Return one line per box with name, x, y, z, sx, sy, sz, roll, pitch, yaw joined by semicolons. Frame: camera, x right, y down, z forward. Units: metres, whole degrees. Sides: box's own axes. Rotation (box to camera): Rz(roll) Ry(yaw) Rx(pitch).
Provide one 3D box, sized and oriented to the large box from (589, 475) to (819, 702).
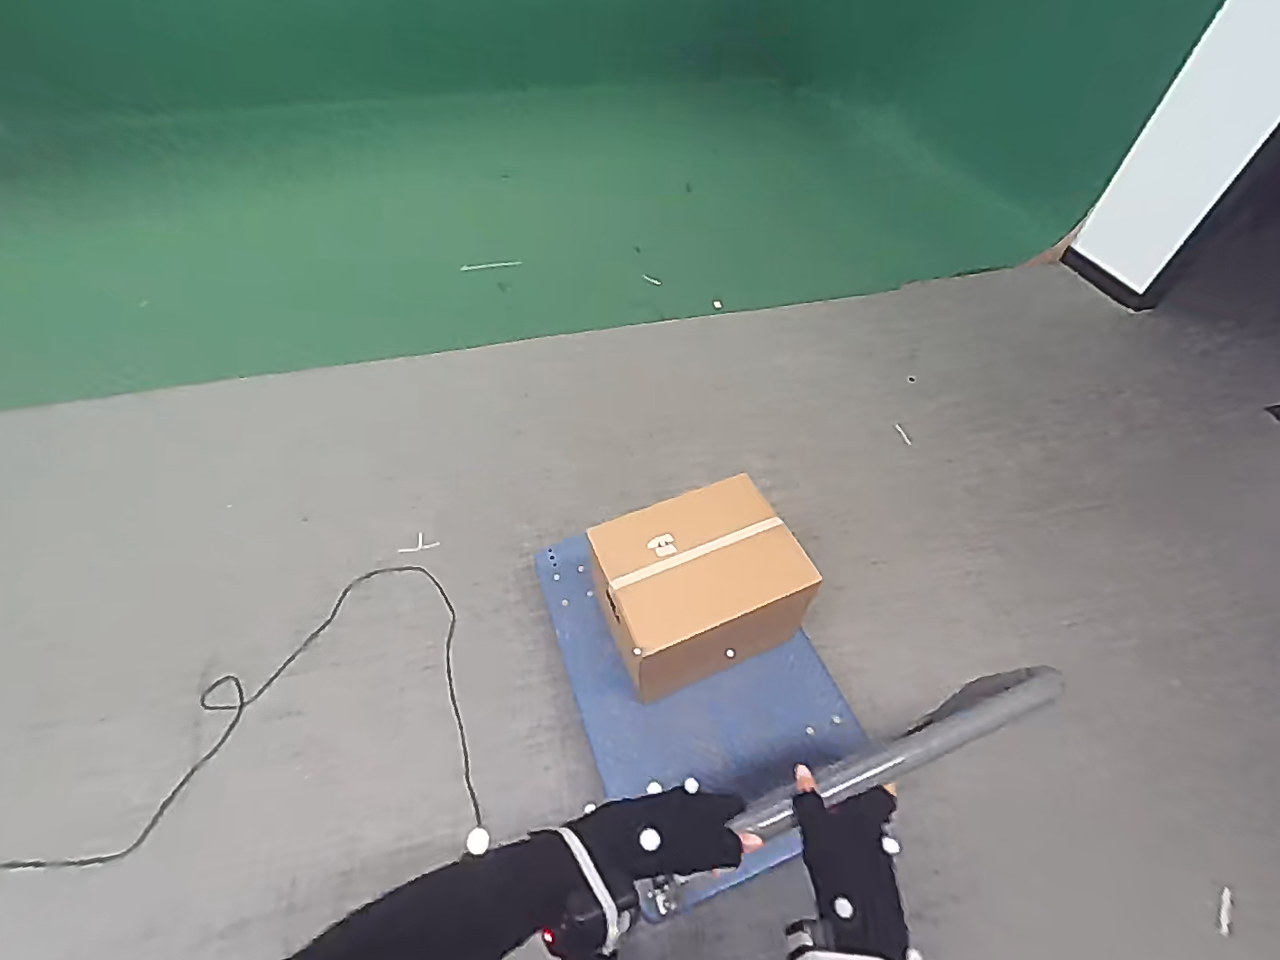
large box;0.132;0.252;1.255;0.408;0.320;0.320;-20;53;-13
